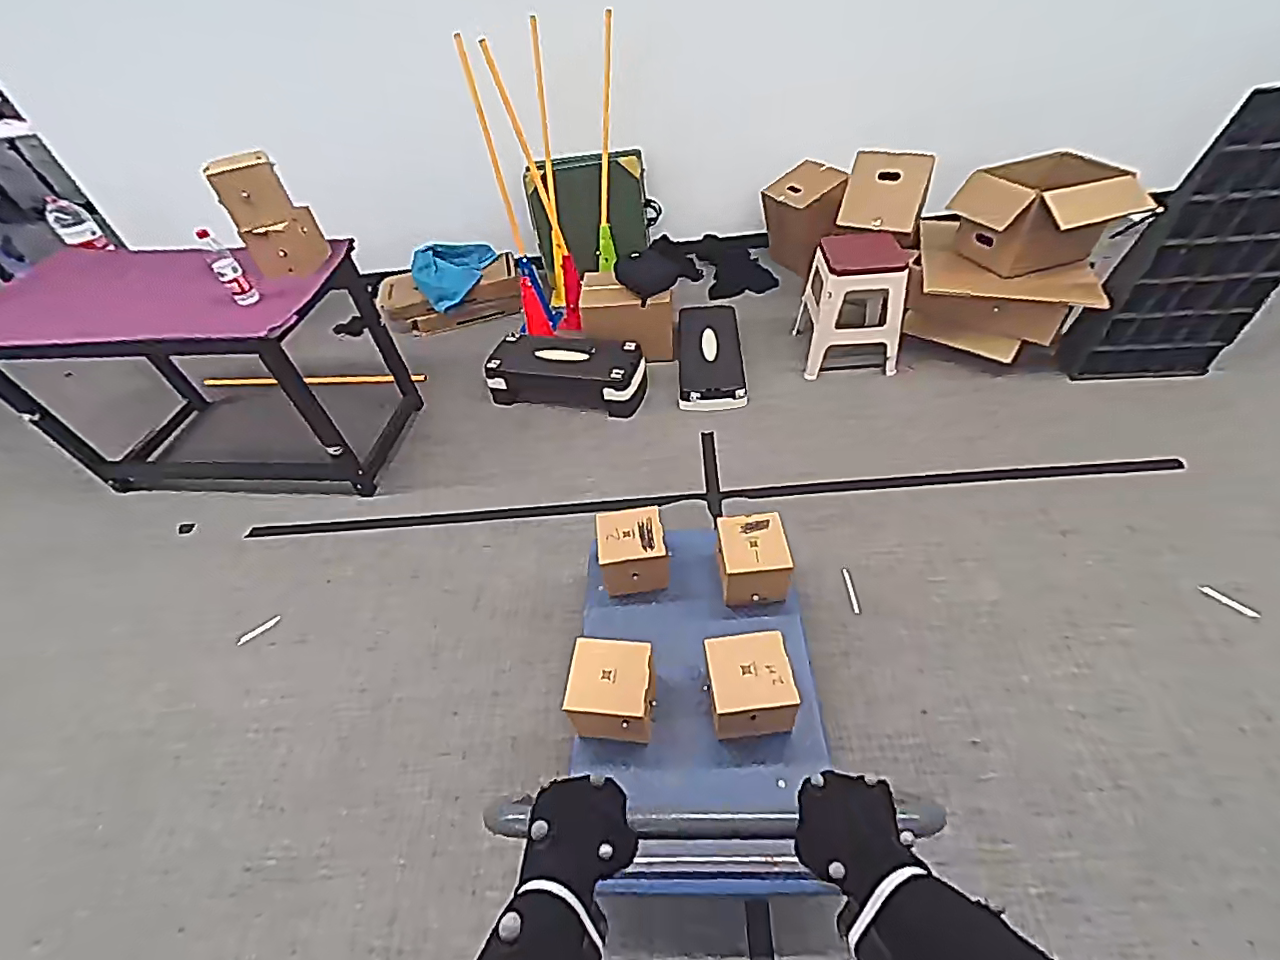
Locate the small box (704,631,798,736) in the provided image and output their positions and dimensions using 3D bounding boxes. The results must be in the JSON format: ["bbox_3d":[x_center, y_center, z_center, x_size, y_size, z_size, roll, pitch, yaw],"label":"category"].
[{"bbox_3d":[0.244,0.465,1.224,0.179,0.176,0.168,-7,48,1],"label":"small box"}]

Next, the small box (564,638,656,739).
[{"bbox_3d":[-0.060,0.483,1.247,0.179,0.176,0.168,2,48,7],"label":"small box"}]

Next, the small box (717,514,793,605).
[{"bbox_3d":[0.298,0.214,1.445,0.168,0.176,0.179,-6,49,2],"label":"small box"}]
